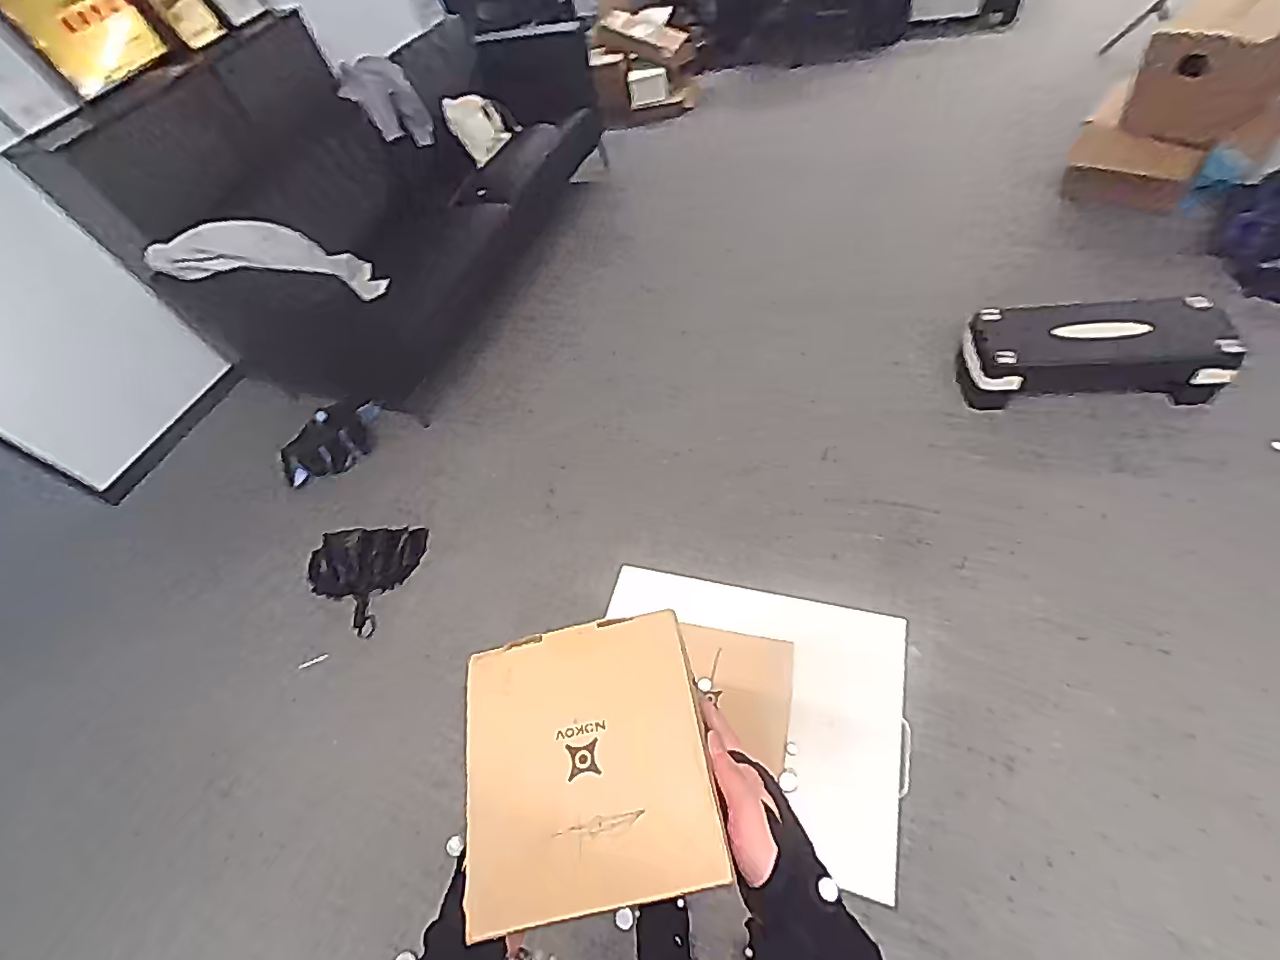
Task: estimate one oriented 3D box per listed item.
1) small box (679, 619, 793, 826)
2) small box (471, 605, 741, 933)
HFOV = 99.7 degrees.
[{"bbox_3d":[0.087,0.284,0.635,0.168,0.176,0.179,5,54,17],"label":"small box"},{"bbox_3d":[-0.024,0.228,0.435,0.168,0.176,0.179,-15,55,1],"label":"small box"}]
